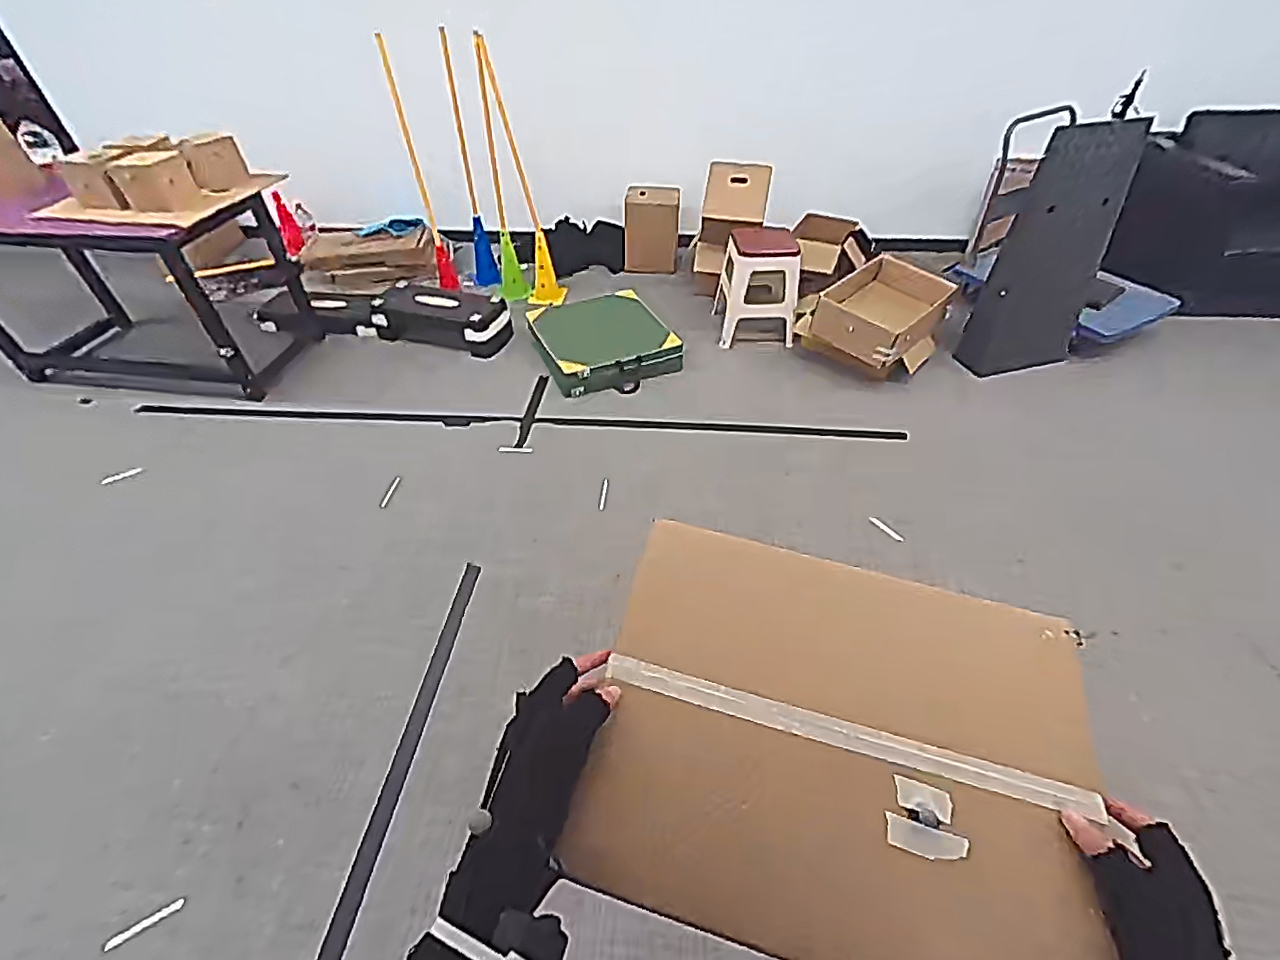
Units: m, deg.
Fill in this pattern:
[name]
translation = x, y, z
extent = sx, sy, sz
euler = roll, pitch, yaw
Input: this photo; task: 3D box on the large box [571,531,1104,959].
[large box]
translation = 0.172, 0.301, 0.598
extent = 0.408, 0.320, 0.320
euler = 14, 59, 9
